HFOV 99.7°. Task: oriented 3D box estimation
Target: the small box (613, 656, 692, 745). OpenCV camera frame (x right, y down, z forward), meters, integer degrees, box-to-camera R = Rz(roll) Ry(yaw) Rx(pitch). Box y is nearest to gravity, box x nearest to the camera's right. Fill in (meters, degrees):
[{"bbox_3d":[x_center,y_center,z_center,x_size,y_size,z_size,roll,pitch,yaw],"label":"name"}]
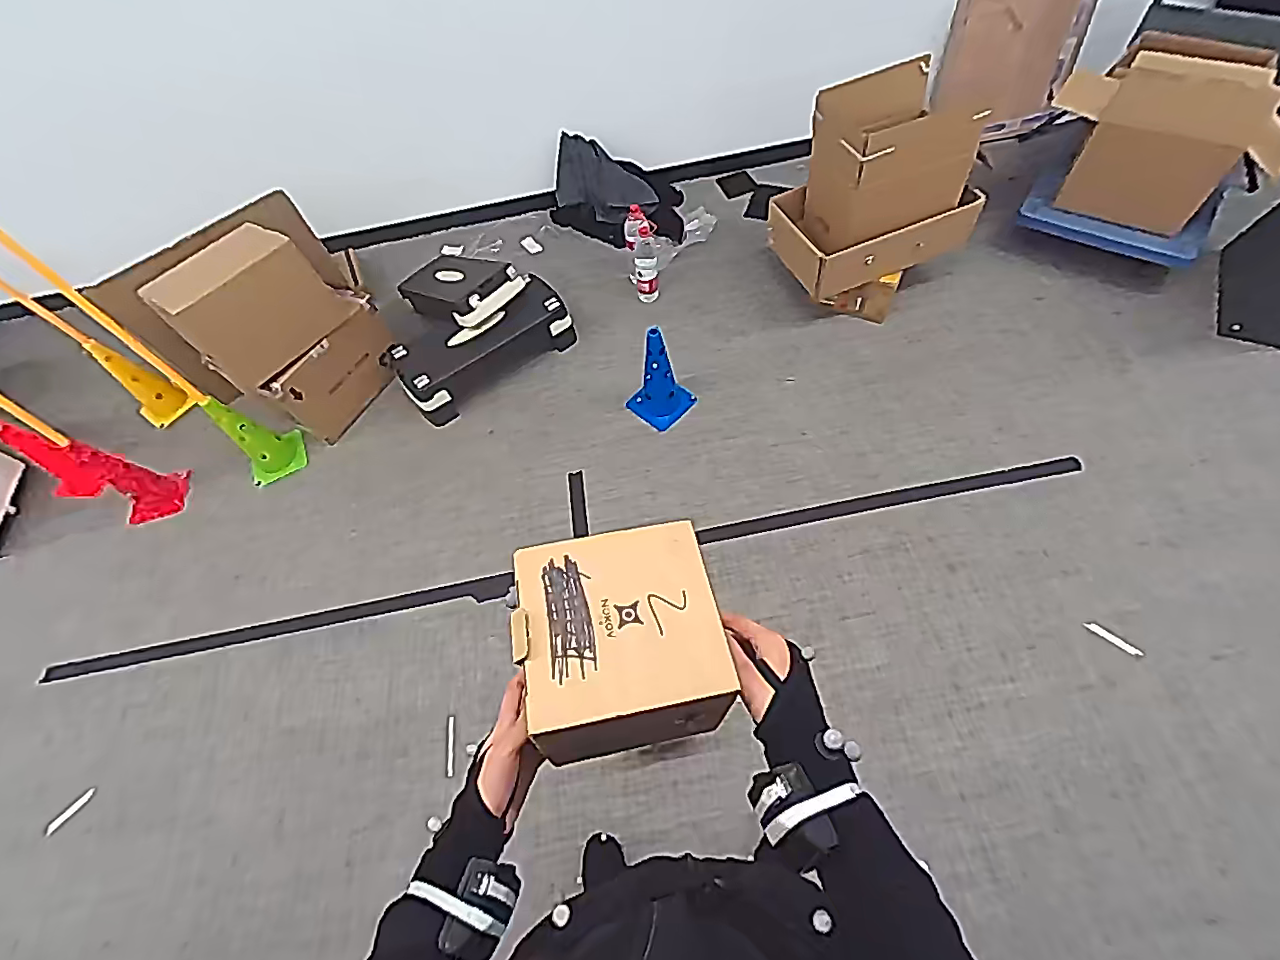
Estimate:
[{"bbox_3d":[0.035,0.577,1.401,0.168,0.176,0.179,-14,59,-1],"label":"small box"}]
